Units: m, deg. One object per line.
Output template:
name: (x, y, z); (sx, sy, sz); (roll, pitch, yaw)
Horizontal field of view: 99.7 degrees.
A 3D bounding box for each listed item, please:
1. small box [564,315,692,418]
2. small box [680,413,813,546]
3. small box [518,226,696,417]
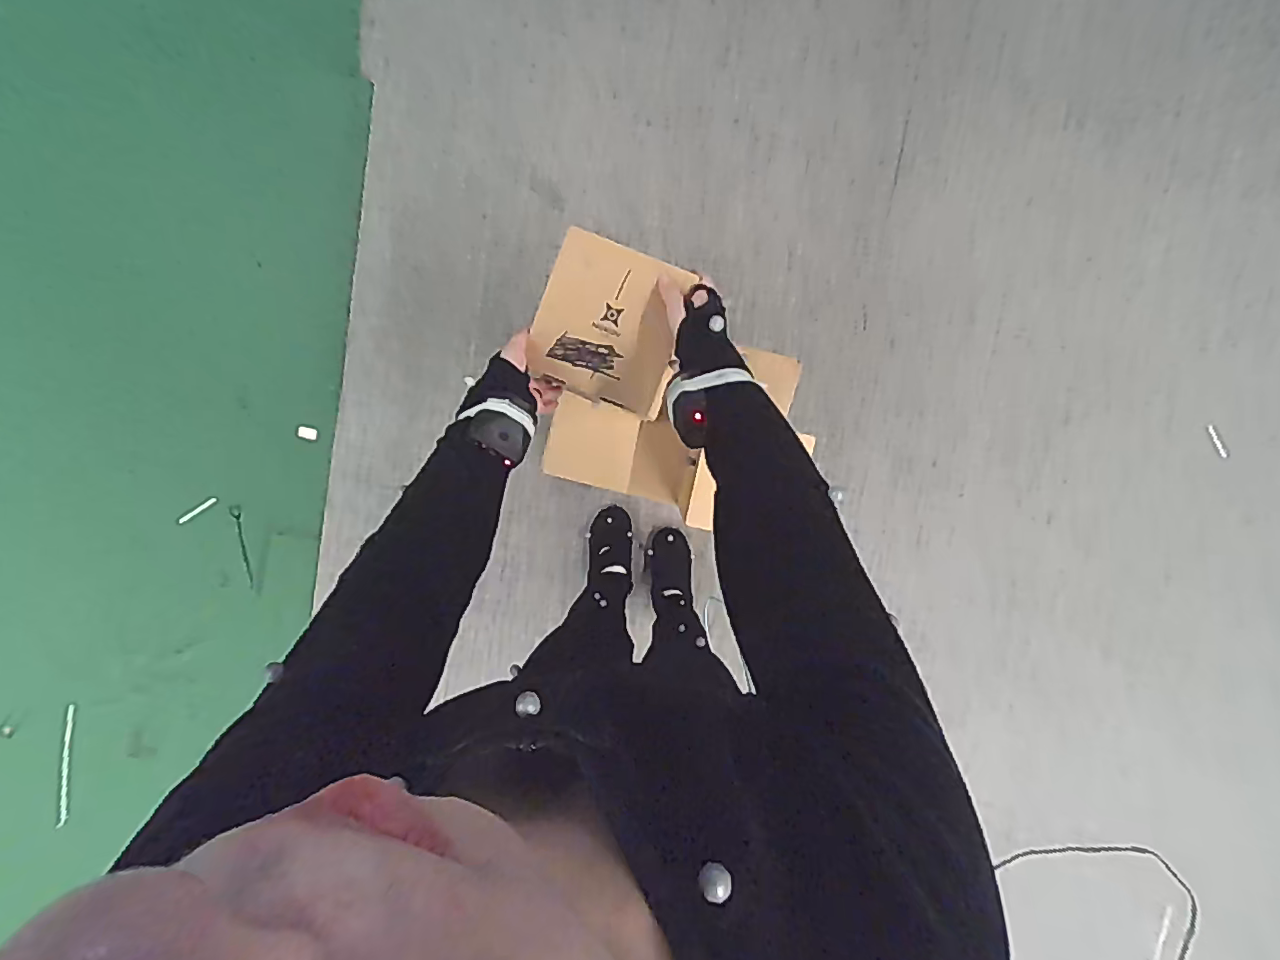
small box: (-0.031, -0.202, 0.878); (0.179, 0.176, 0.168); (20, 95, -2)
small box: (0.164, -0.008, 0.894); (0.168, 0.176, 0.179); (12, 95, -1)
small box: (-0.037, -0.191, 0.713); (0.168, 0.176, 0.179); (22, 93, -1)
